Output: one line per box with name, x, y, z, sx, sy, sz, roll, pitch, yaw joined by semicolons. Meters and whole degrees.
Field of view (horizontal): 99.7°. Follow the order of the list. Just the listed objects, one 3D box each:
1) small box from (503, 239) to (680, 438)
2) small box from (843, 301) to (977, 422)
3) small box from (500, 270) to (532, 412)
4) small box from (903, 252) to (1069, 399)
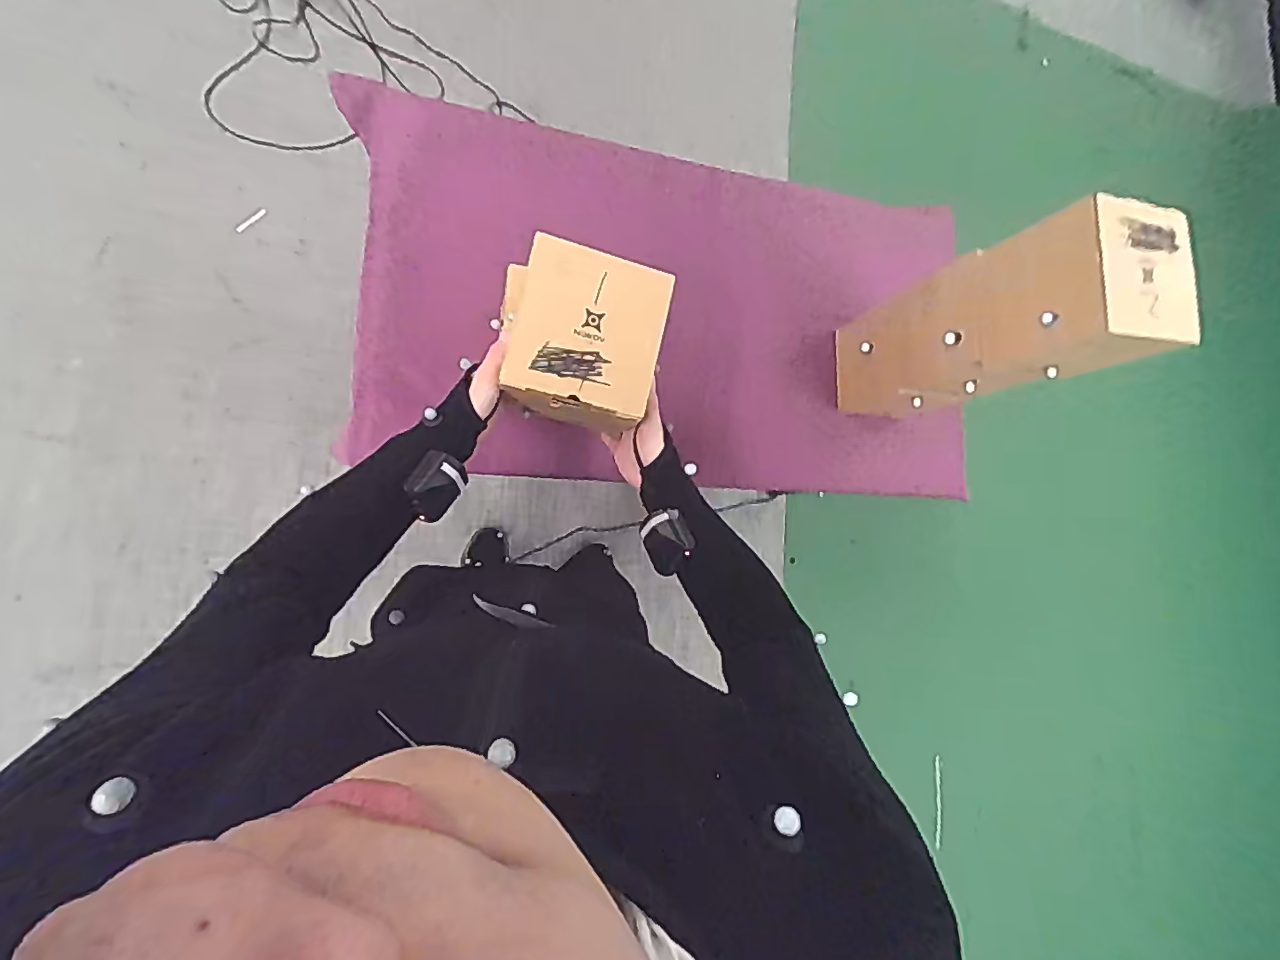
small box;-0.065;-0.159;0.677;0.168;0.176;0.179;14;85;-11
small box;0.512;-0.220;1.048;0.168;0.176;0.179;2;83;-15
small box;-0.131;-0.200;0.858;0.168;0.176;0.179;5;83;-16
small box;0.558;-0.239;0.890;0.168;0.176;0.179;4;83;-16
